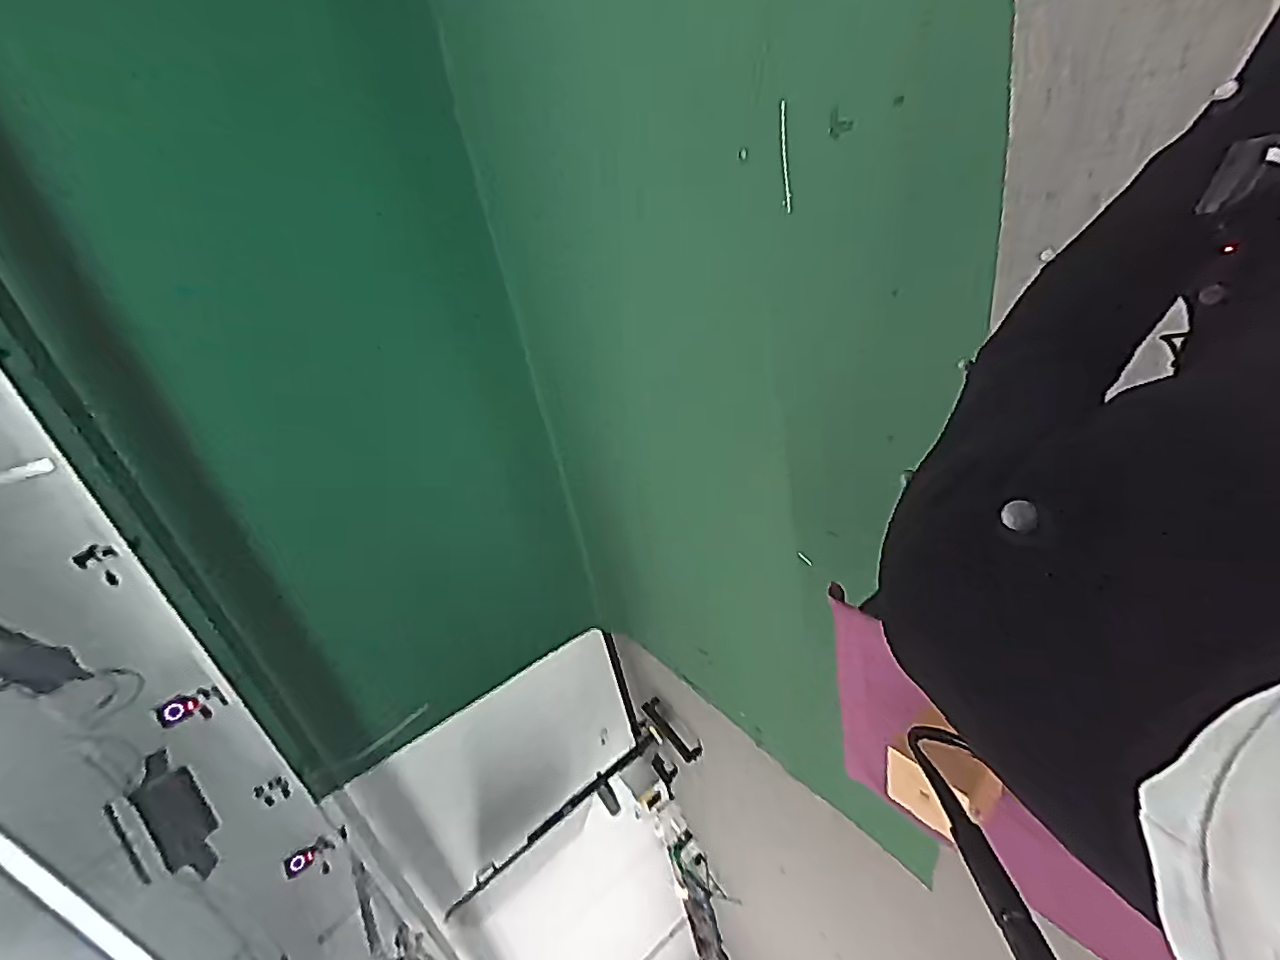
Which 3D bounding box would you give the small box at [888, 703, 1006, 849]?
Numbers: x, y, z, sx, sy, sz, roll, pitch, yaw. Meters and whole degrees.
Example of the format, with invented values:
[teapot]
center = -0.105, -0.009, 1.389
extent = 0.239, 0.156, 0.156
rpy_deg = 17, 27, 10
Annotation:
[small box]
center = 0.658, 0.627, 1.162
extent = 0.168, 0.176, 0.179
rpy_deg = 22, 133, 48
